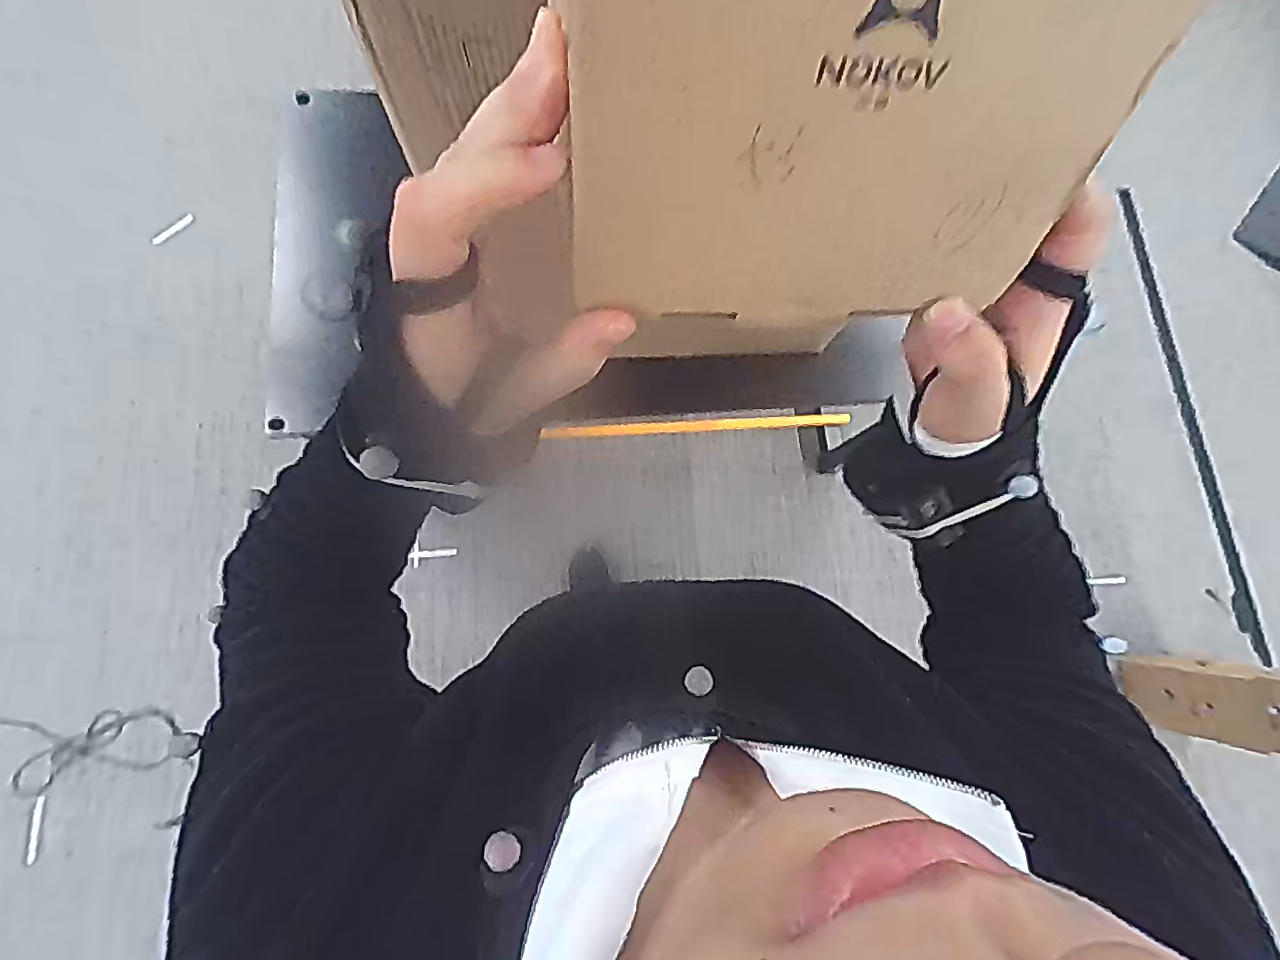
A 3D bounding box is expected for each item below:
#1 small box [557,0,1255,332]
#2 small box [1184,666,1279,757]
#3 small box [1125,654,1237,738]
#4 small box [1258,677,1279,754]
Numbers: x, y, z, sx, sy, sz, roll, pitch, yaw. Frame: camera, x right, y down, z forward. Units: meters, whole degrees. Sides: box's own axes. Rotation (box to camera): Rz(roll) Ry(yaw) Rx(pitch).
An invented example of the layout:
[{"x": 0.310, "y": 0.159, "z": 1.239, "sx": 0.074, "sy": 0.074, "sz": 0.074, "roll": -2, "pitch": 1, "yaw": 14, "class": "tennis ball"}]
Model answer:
[{"x": 0.057, "y": -0.171, "z": 0.179, "sx": 0.168, "sy": 0.179, "sz": 0.176, "roll": -3, "pitch": 54, "yaw": -8, "class": "small box"}, {"x": 1.493, "y": 0.549, "z": 1.304, "sx": 0.179, "sy": 0.176, "sz": 0.168, "roll": -3, "pitch": 79, "yaw": -4, "class": "small box"}, {"x": 1.480, "y": 0.576, "z": 1.466, "sx": 0.168, "sy": 0.176, "sz": 0.179, "roll": -7, "pitch": 80, "yaw": -5, "class": "small box"}, {"x": 1.497, "y": 0.517, "z": 1.145, "sx": 0.179, "sy": 0.176, "sz": 0.168, "roll": 2, "pitch": 78, "yaw": -3, "class": "small box"}]
